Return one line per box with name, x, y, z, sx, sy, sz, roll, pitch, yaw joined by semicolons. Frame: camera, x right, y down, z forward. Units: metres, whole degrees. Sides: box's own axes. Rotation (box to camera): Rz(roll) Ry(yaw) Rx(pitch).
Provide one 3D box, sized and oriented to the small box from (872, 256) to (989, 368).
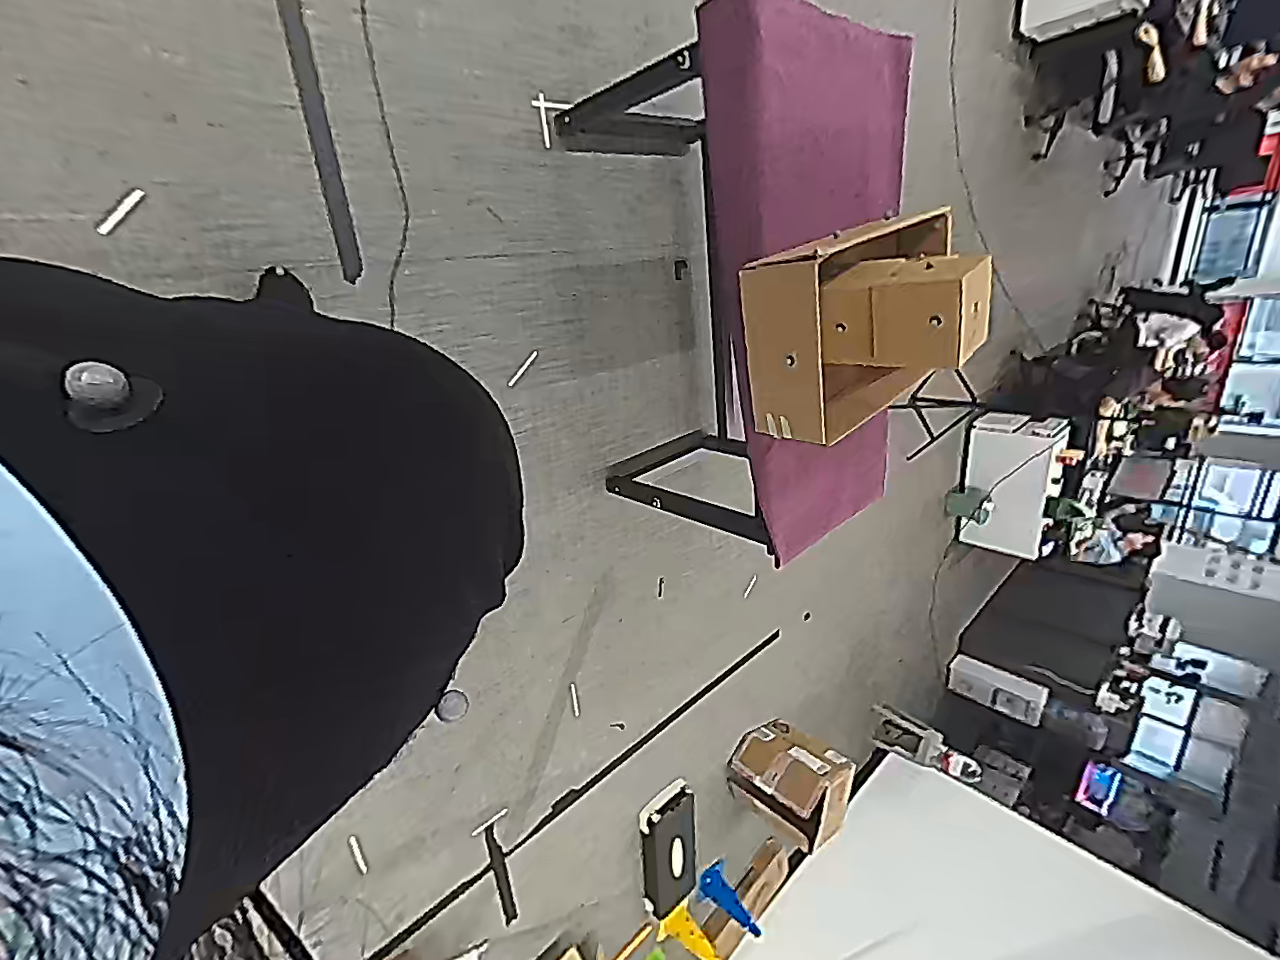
small box;0.588;-0.340;1.103;0.168;0.176;0.179;-35;124;-33
